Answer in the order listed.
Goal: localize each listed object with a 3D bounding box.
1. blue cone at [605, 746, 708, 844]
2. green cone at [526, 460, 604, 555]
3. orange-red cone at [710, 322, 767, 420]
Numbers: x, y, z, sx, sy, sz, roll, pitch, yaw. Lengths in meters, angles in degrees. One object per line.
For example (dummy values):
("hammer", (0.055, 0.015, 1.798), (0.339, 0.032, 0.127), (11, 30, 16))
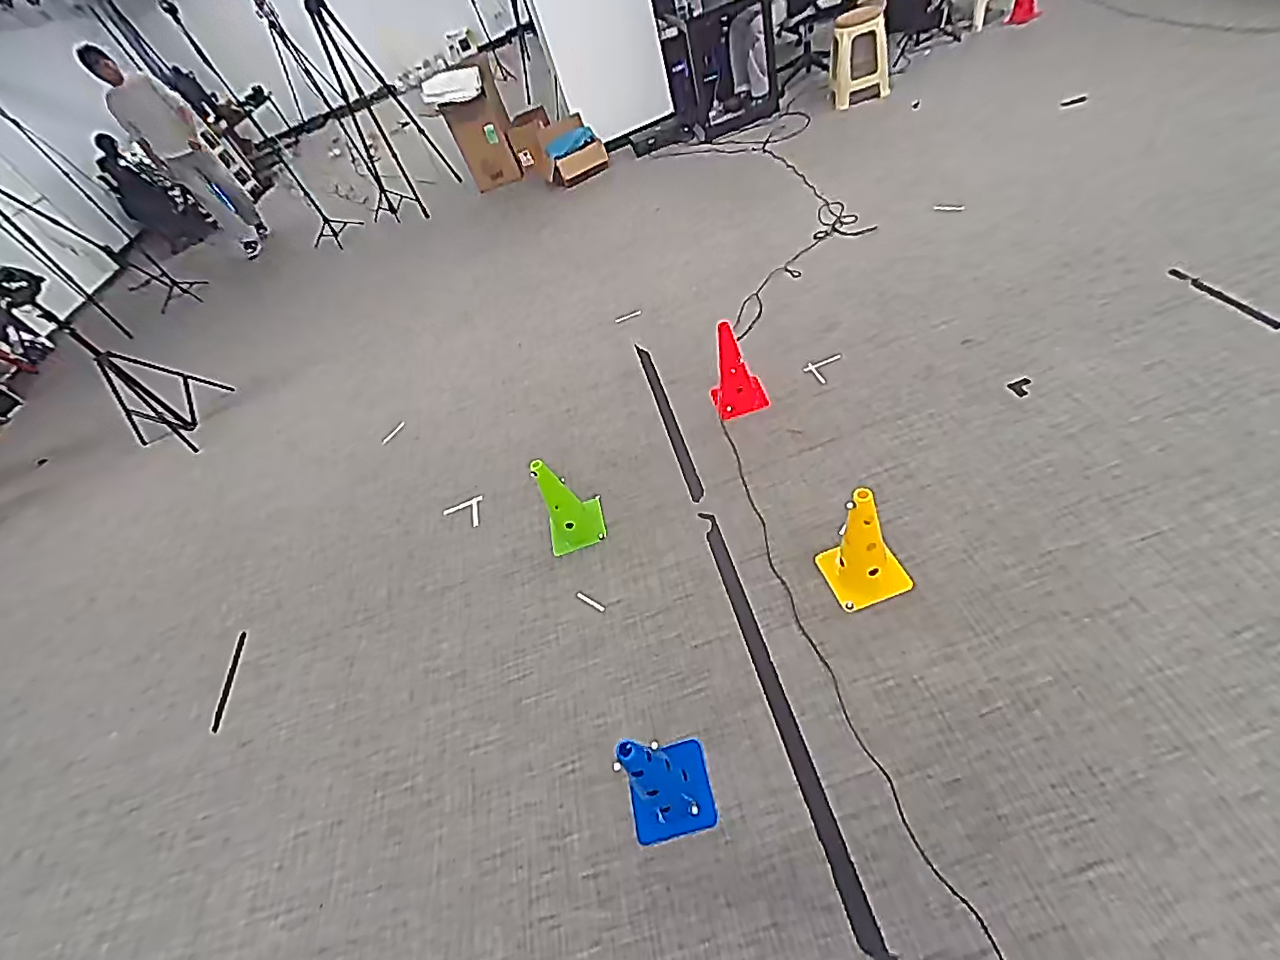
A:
("blue cone", (0.013, 0.659, 1.204), (0.192, 0.380, 0.193), (-18, 46, 7))
("green cone", (-0.284, 0.058, 1.833), (0.202, 0.368, 0.200), (-21, 46, 5))
("orange-red cone", (0.339, -0.432, 2.018), (0.199, 0.360, 0.198), (-16, 48, 6))
